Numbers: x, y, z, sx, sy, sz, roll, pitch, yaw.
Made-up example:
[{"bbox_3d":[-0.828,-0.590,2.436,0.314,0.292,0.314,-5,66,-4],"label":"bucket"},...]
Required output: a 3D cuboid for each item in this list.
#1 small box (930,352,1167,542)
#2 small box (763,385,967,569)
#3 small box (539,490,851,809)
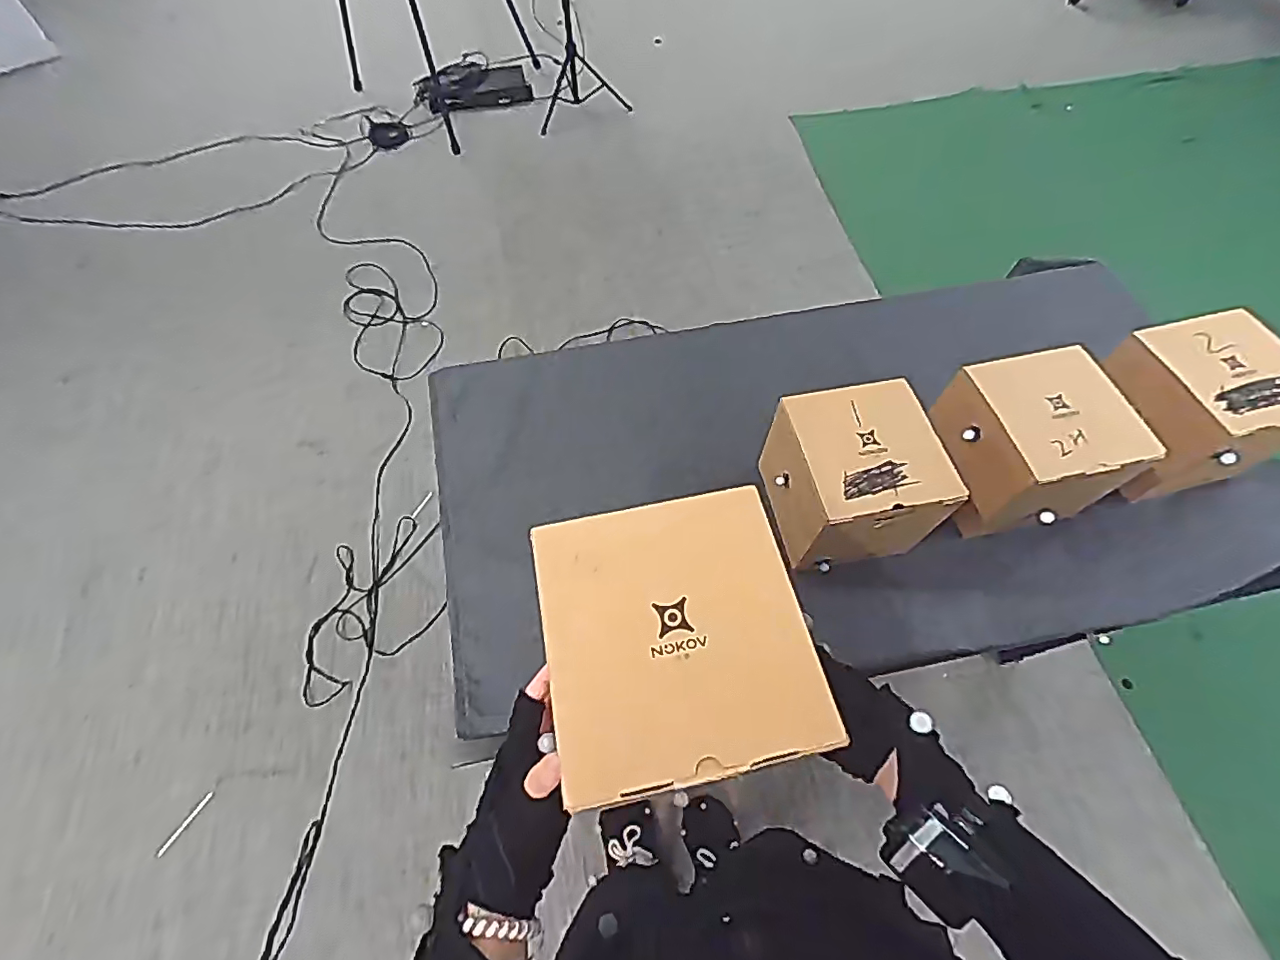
[{"bbox_3d":[0.510,-0.040,0.723,0.168,0.176,0.179,-11,61,-5],"label":"small box"},{"bbox_3d":[0.273,0.005,0.704,0.168,0.176,0.179,-9,60,-4],"label":"small box"},{"bbox_3d":[0.024,0.133,0.410,0.168,0.176,0.179,-11,60,-6],"label":"small box"}]
